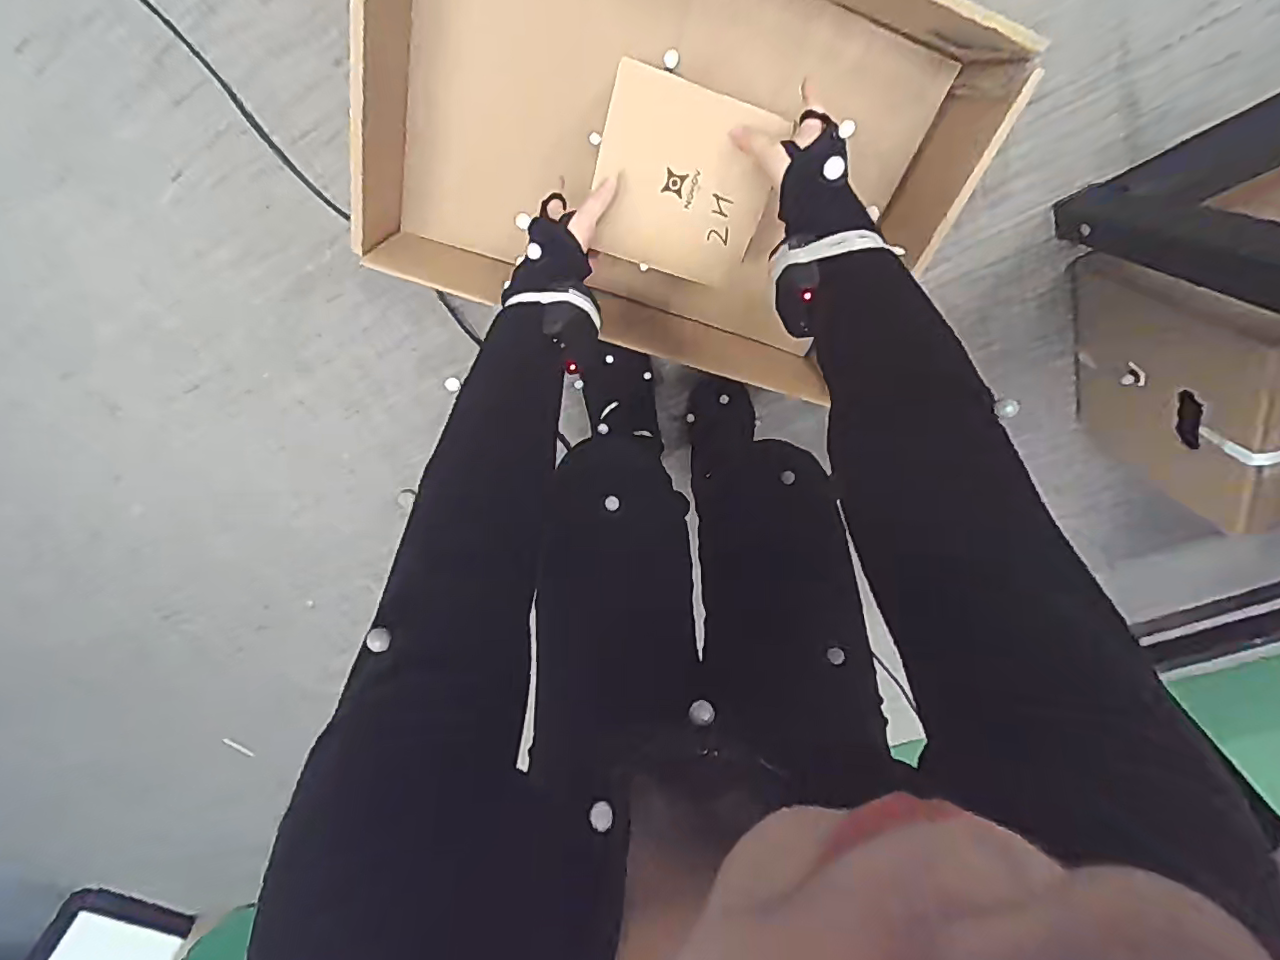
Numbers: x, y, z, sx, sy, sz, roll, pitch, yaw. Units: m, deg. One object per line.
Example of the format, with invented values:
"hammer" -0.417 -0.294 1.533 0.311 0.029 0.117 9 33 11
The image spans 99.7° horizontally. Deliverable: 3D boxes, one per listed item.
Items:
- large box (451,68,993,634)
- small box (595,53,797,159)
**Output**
"large box" 0.097 -0.122 0.565 0.320 0.408 0.320 47 124 2
"small box" 0.042 -0.339 0.597 0.179 0.176 0.168 14 127 -10
